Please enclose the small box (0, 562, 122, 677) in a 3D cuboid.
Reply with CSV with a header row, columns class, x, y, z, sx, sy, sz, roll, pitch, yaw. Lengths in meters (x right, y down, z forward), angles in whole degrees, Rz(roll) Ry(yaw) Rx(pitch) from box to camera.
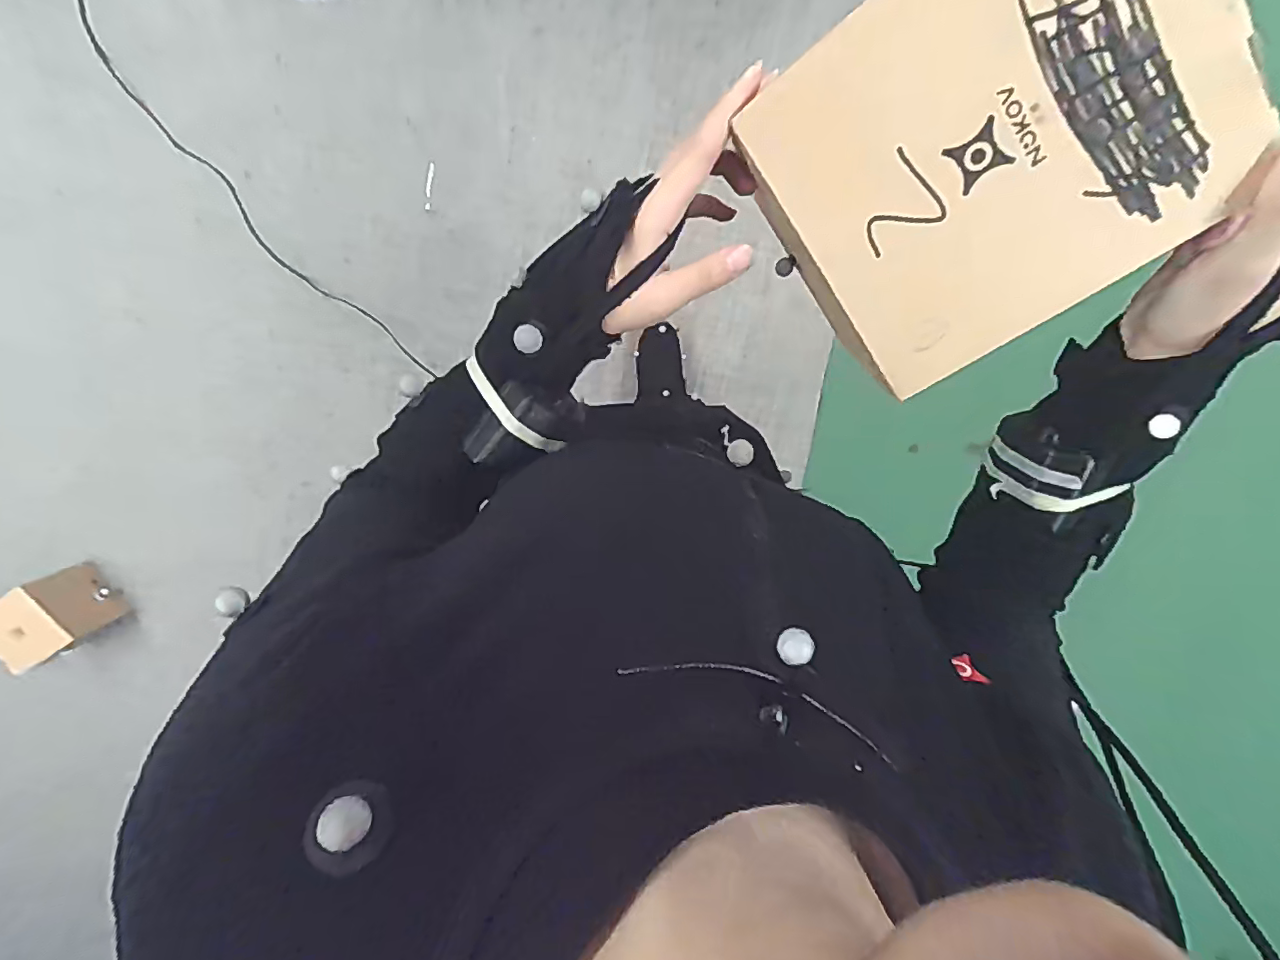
class,x,y,z,sx,sy,sz,roll,pitch,yaw
small box,-1.431,0.328,1.300,0.179,0.176,0.168,-33,103,4
